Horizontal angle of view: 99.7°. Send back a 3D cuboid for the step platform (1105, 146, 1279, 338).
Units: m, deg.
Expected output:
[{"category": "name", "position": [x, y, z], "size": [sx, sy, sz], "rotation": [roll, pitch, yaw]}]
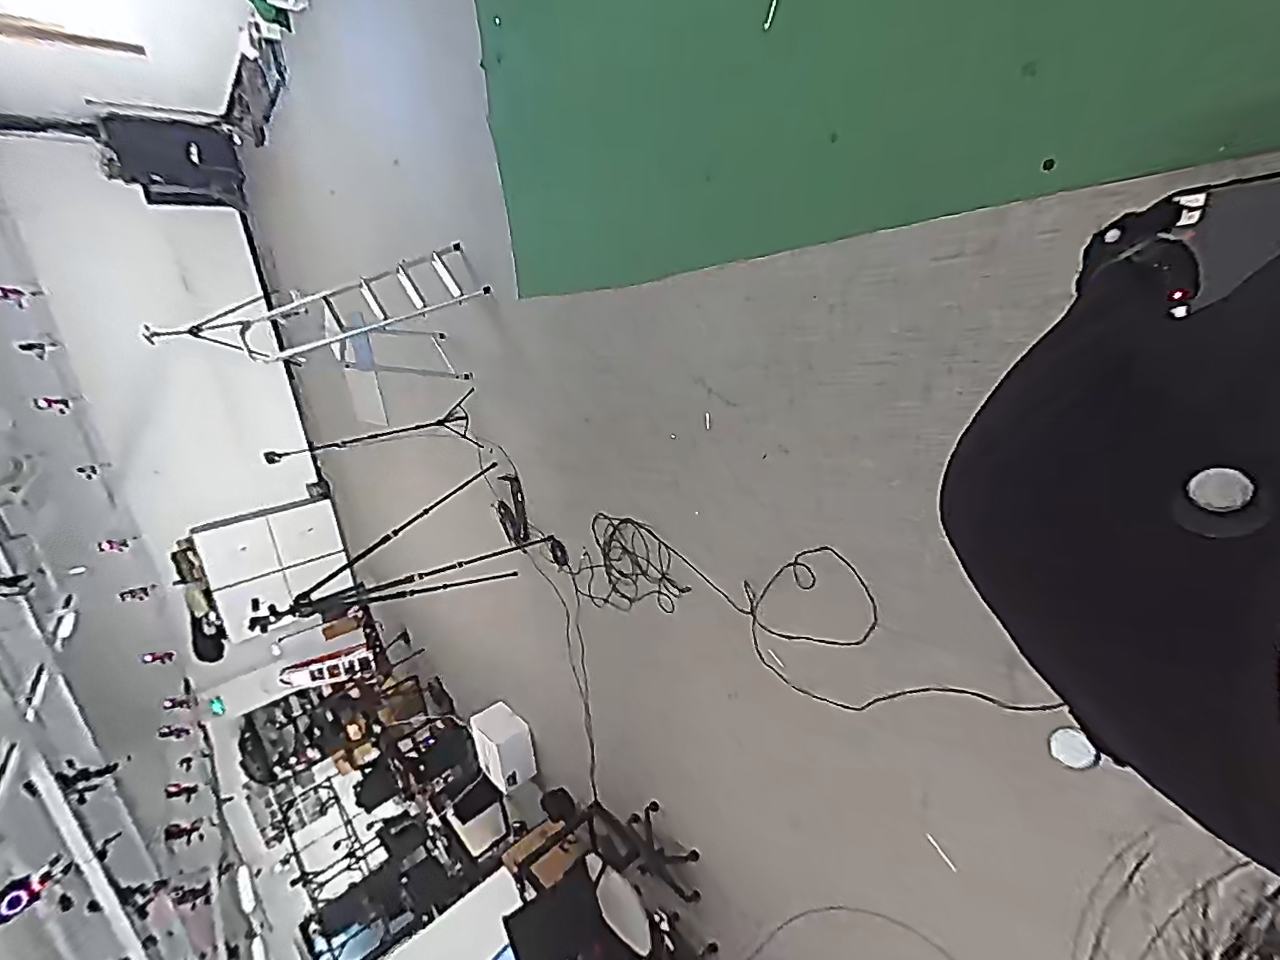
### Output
[{"category": "step platform", "position": [1.129, -0.379, 0.772], "size": [0.684, 0.204, 0.286], "rotation": [11, 114, 48]}]
